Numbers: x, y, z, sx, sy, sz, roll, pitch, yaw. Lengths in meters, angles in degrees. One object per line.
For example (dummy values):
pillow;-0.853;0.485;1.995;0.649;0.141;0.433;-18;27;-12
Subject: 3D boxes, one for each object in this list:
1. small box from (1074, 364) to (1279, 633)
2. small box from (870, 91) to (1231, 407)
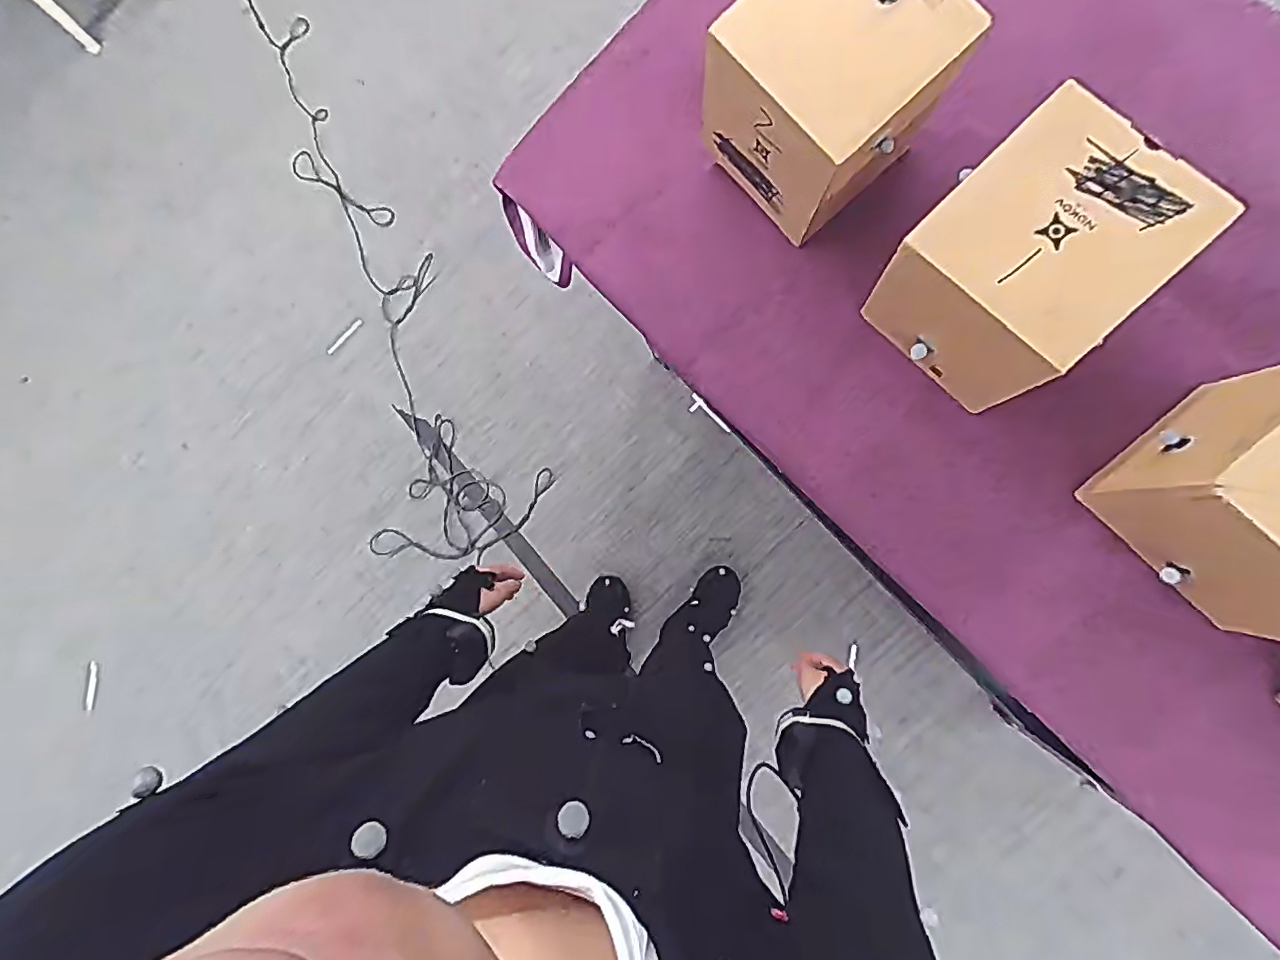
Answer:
small box;0.544;0.012;0.453;0.168;0.176;0.179;-42;79;3
small box;0.351;-0.196;0.510;0.179;0.176;0.168;-44;79;5
